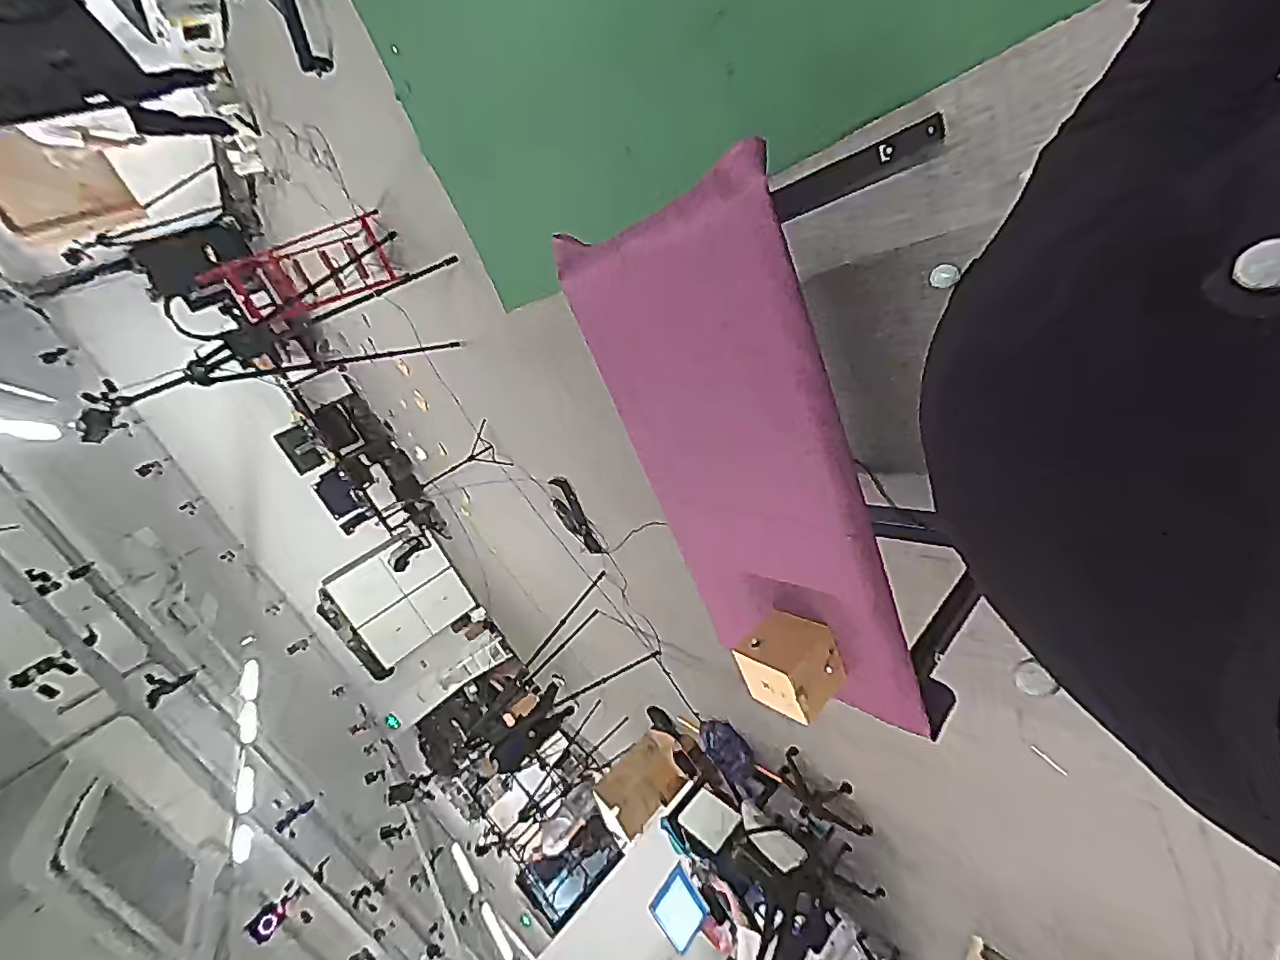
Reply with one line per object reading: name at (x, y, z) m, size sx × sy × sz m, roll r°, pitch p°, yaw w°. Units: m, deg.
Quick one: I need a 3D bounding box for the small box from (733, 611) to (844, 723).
small box at (0.365, 0.445, 1.323) m, size 0.179 × 0.176 × 0.168 m, roll 6°, pitch 126°, yaw 54°
